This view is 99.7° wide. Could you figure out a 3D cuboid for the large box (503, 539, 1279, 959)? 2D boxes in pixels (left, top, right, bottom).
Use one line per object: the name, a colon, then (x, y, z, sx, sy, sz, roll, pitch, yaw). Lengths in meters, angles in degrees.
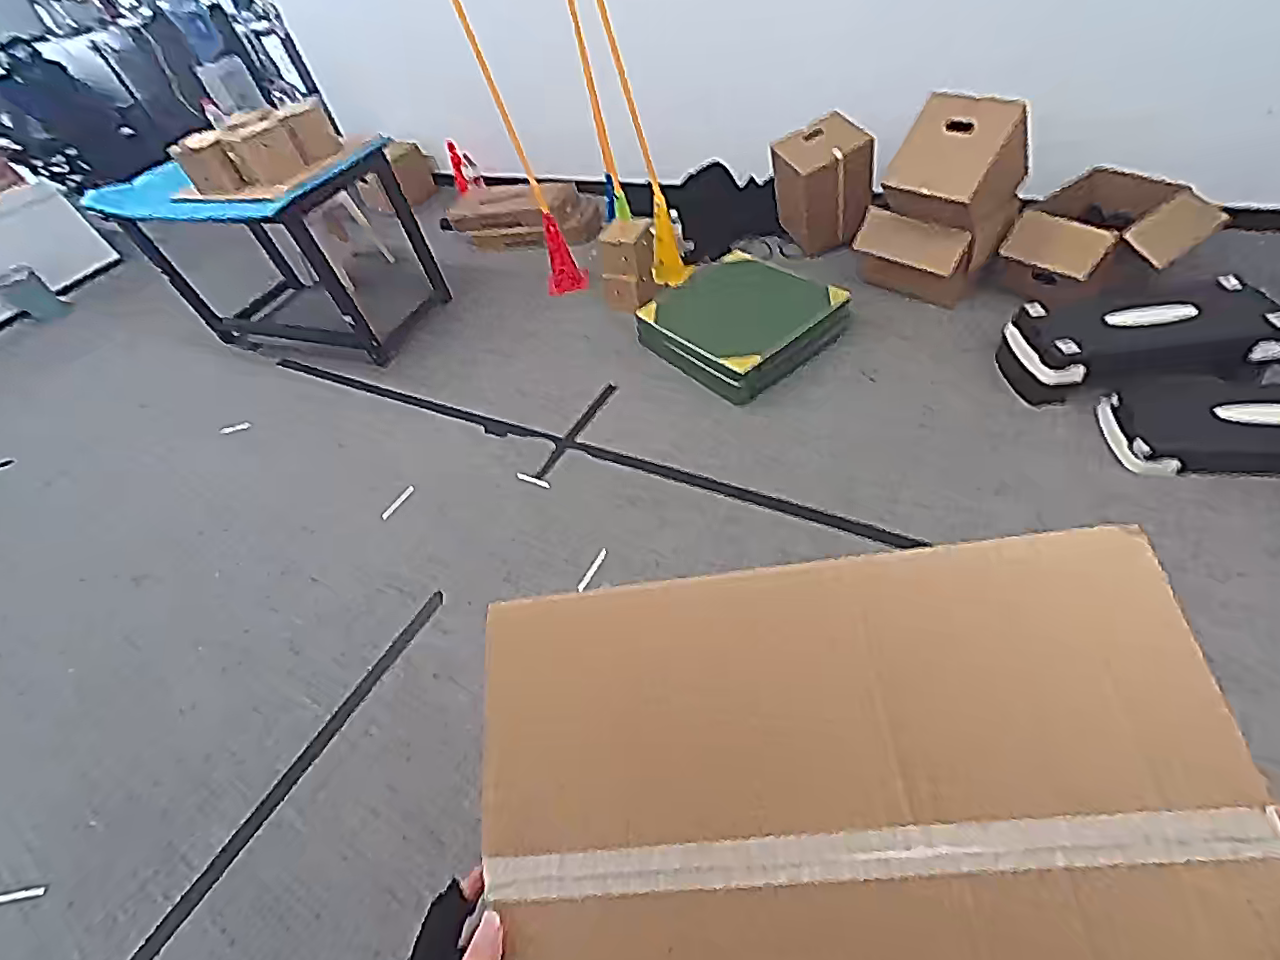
large box: (0.137, 0.261, 0.434, 0.408, 0.320, 0.320, -9, 68, 7)
